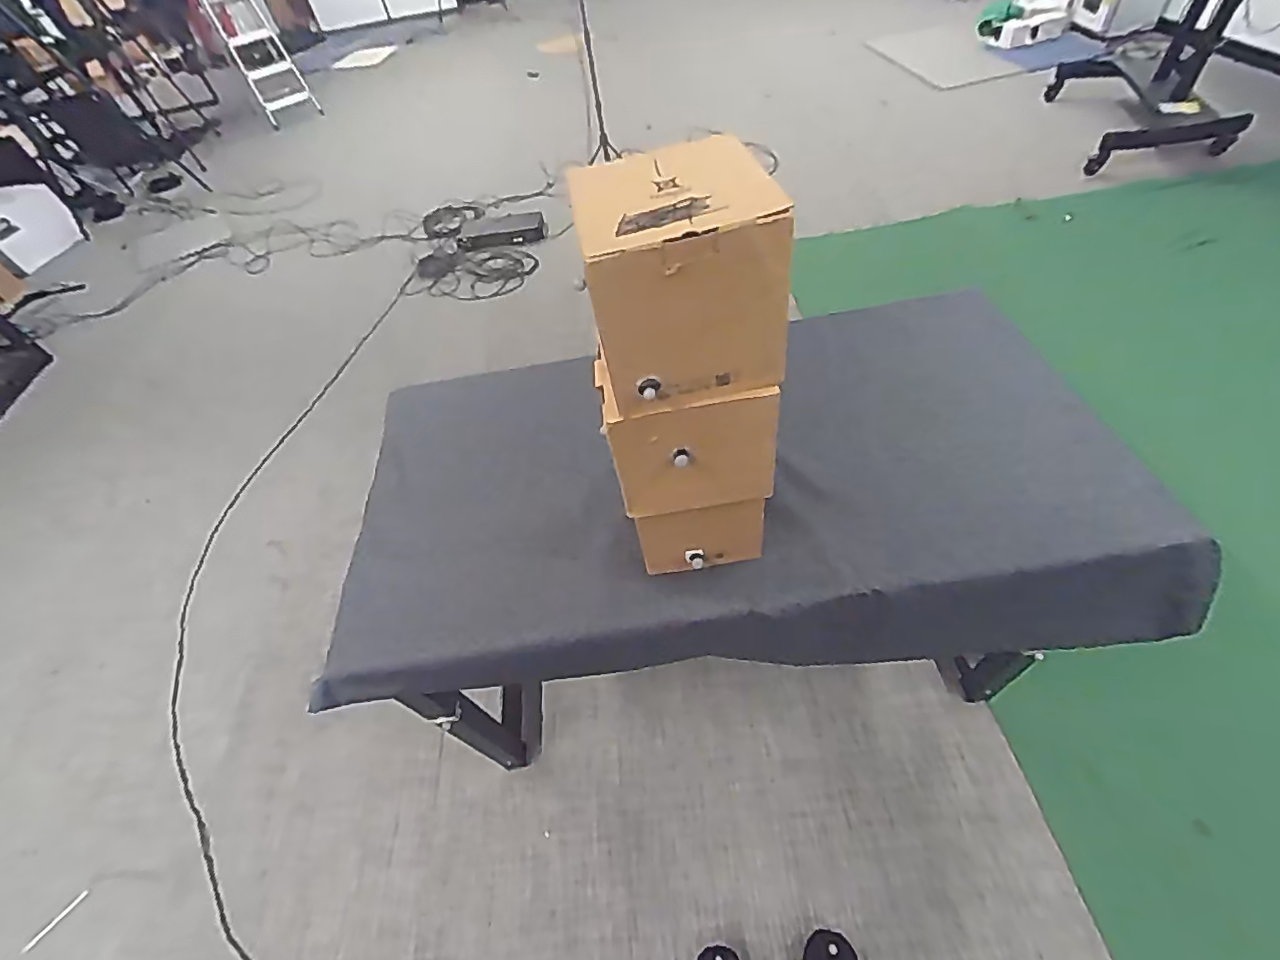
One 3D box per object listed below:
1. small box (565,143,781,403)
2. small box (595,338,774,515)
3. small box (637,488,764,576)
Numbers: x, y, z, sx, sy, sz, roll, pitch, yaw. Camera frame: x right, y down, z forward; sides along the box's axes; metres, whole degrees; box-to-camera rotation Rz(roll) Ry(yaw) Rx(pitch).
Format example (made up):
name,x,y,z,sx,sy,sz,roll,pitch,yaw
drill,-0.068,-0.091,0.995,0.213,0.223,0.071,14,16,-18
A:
name,x,y,z,sx,sy,sz,roll,pitch,yaw
small box,0.031,-0.192,0.528,0.168,0.176,0.179,-13,48,0
small box,0.052,-0.078,0.649,0.179,0.176,0.168,-11,48,1
small box,0.074,0.013,0.780,0.168,0.176,0.179,-11,51,2
